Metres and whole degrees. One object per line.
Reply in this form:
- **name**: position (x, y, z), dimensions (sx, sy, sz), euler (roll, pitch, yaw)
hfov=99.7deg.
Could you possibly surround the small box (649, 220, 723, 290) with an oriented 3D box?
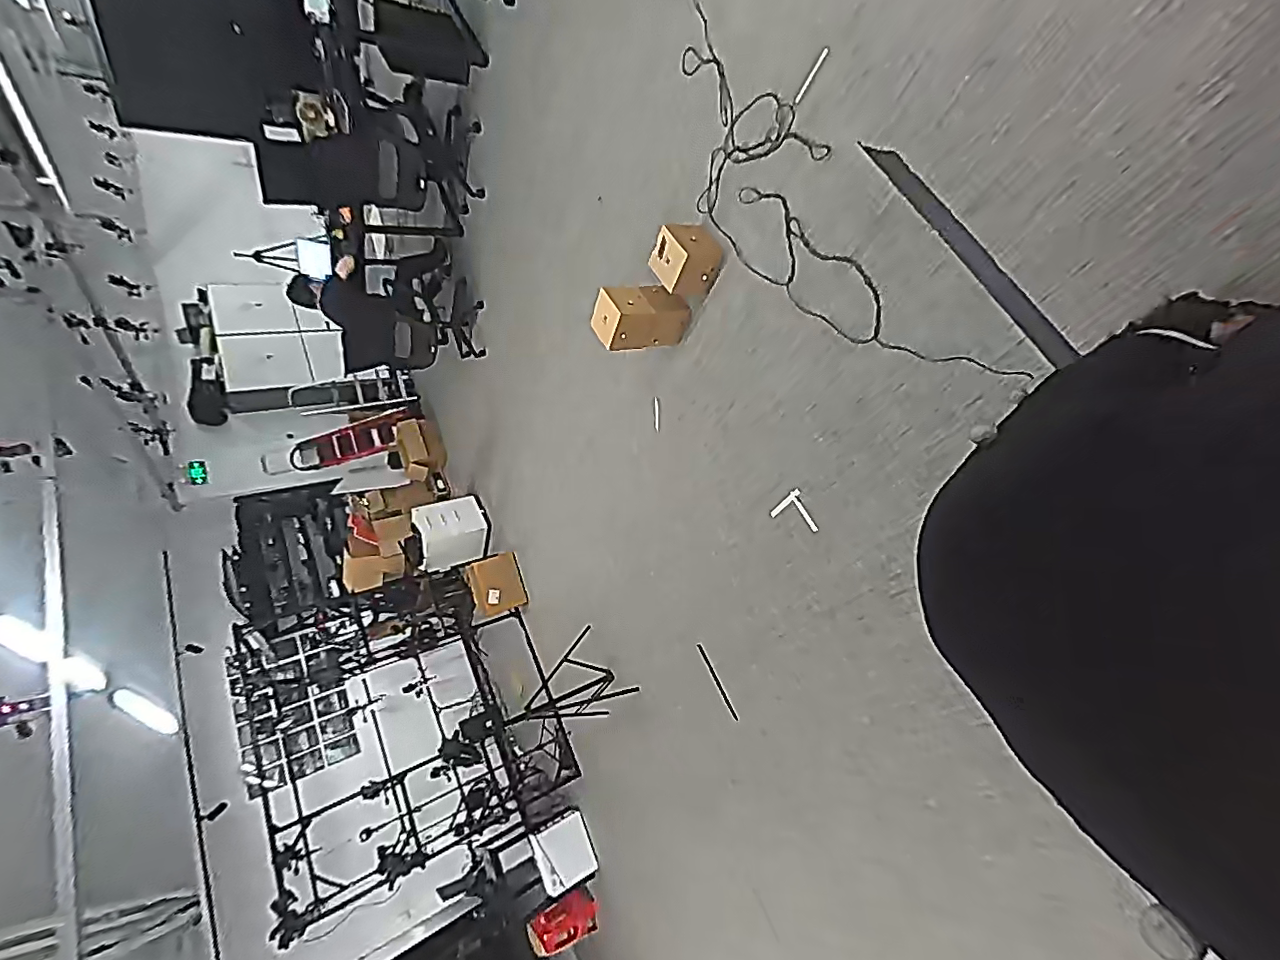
- **small box**: position (0.166, -0.809, 1.951), dimensions (0.179, 0.176, 0.168), euler (60, 146, 23)

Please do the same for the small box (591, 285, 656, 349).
- **small box**: position (-0.061, -0.630, 2.075), dimensions (0.168, 0.176, 0.179), euler (59, 145, 27)
